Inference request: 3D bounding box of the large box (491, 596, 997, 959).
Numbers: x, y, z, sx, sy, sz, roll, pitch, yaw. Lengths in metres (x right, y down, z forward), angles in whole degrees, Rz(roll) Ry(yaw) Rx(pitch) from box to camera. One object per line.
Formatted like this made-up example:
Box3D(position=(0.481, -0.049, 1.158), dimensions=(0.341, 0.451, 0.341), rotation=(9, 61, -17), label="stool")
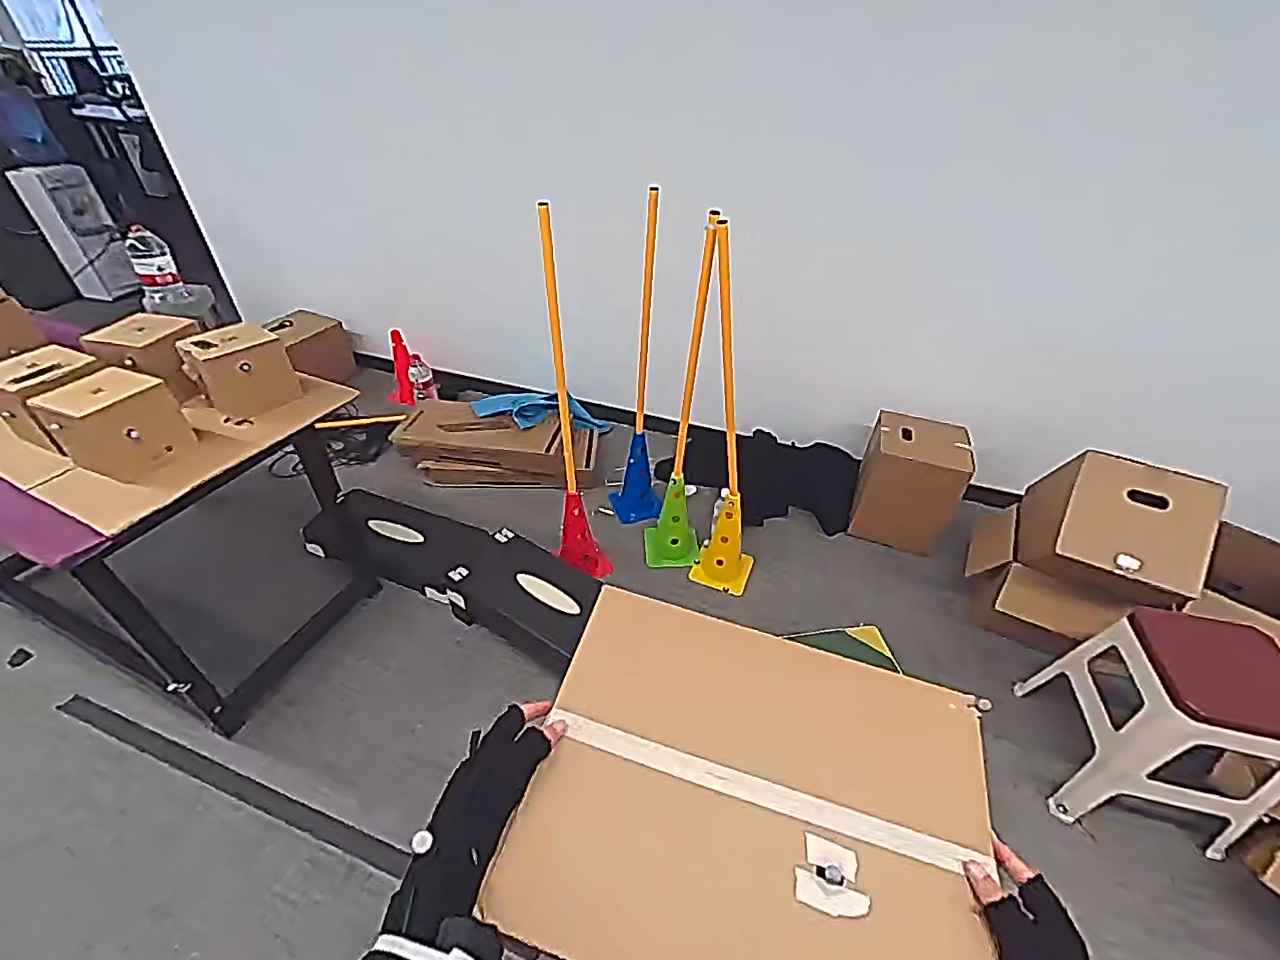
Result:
Box3D(position=(0.099, 0.387, 0.606), dimensions=(0.408, 0.320, 0.320), rotation=(16, 49, 9), label="large box")
